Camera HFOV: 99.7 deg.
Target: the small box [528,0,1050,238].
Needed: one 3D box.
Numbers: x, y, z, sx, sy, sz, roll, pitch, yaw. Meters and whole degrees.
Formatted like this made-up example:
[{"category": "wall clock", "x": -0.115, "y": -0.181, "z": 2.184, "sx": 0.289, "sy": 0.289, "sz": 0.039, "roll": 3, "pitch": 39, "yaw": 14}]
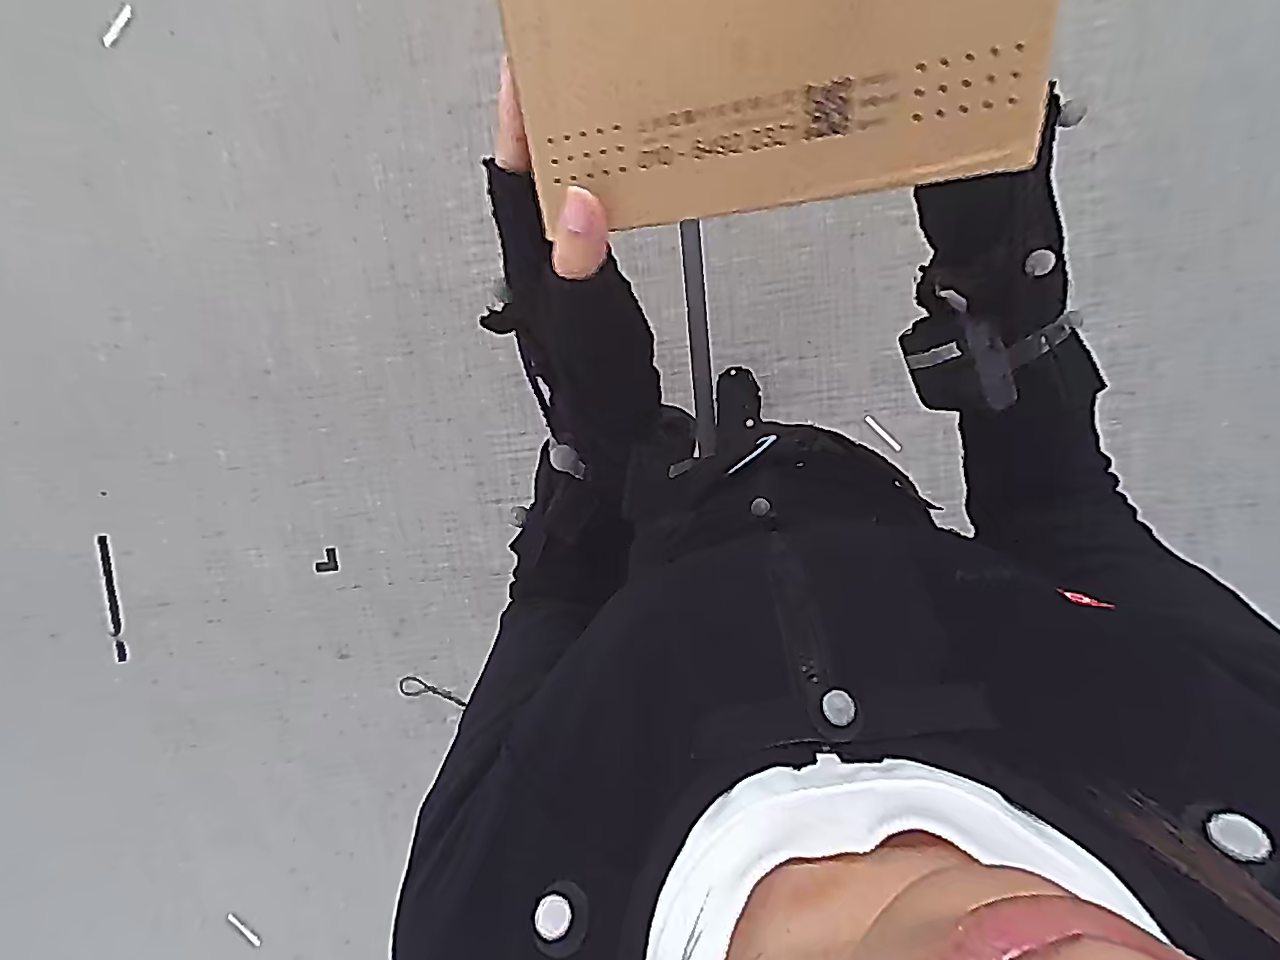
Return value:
[{"category": "small box", "x": 0.056, "y": -0.206, "z": 0.230, "sx": 0.168, "sy": 0.179, "sz": 0.176, "roll": -1, "pitch": 119, "yaw": 14}]
